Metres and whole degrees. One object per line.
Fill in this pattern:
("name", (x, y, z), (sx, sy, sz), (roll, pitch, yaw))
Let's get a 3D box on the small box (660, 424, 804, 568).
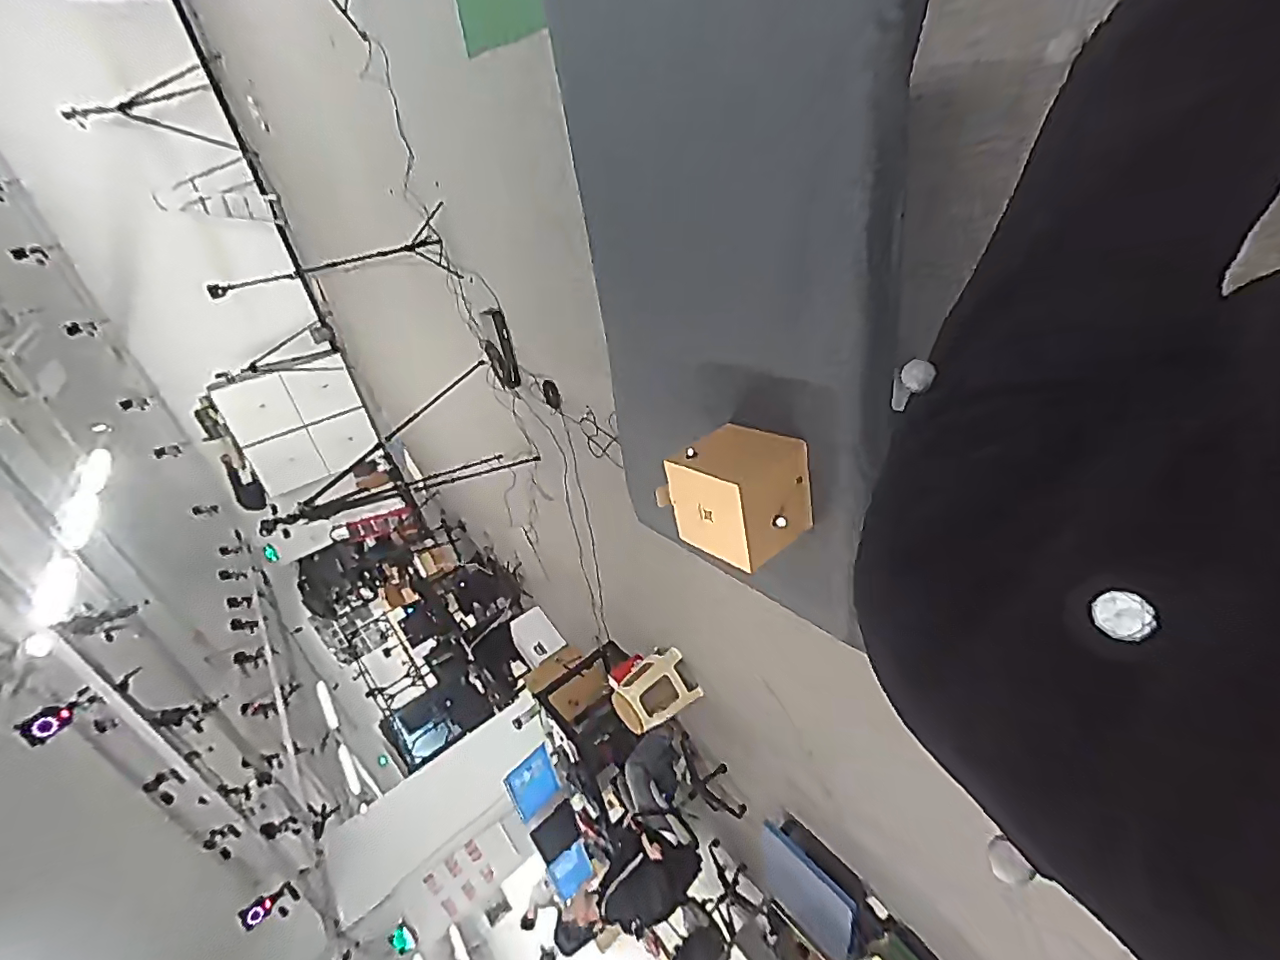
("small box", (0.165, 0.017, 0.925), (0.179, 0.176, 0.168), (22, 133, 49))
